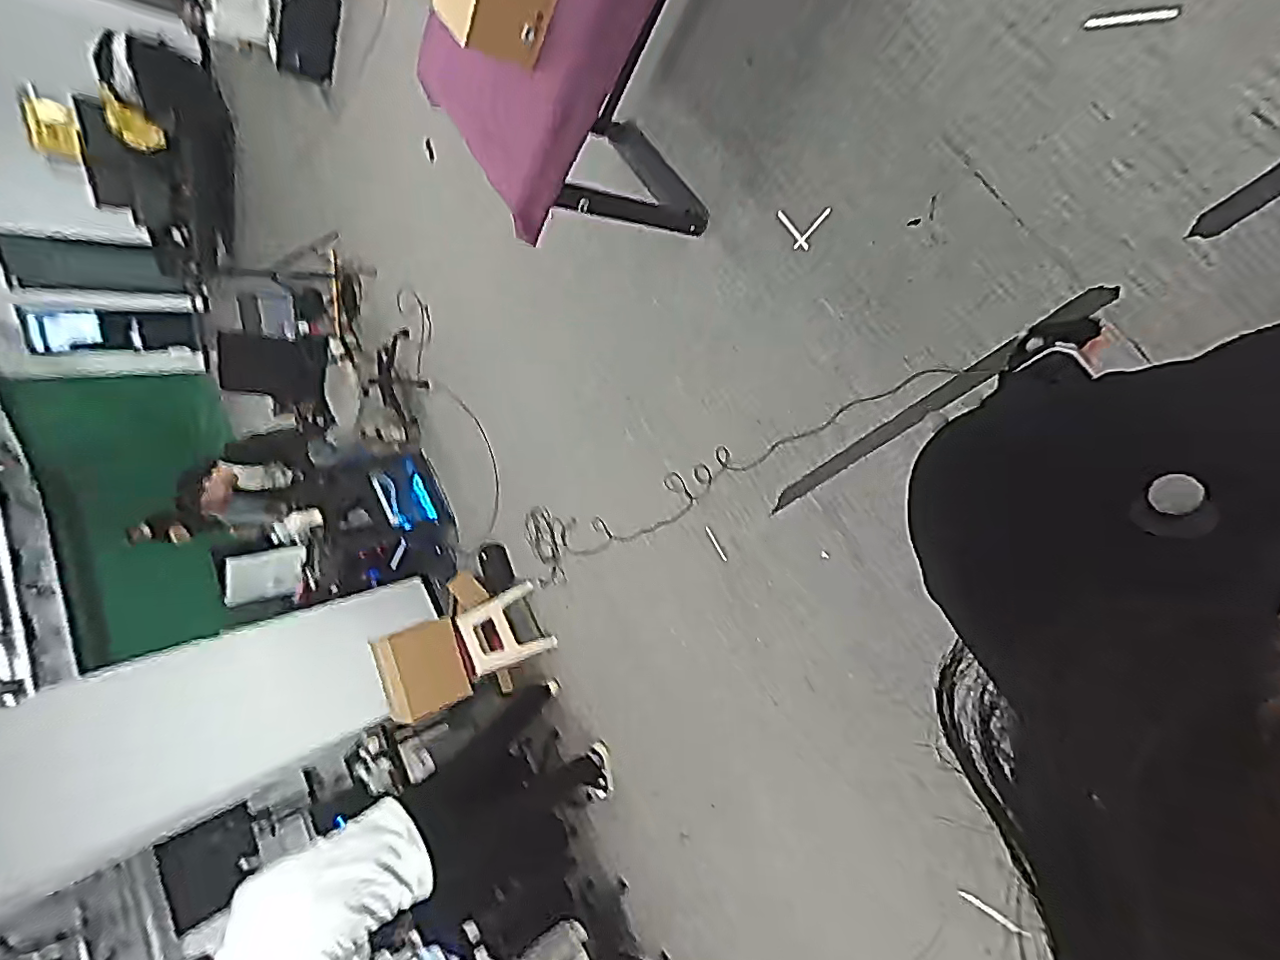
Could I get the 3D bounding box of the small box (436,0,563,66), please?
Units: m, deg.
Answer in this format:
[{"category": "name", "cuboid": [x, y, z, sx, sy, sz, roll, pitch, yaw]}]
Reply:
[{"category": "small box", "cuboid": [-0.285, -0.992, 1.099, 0.179, 0.176, 0.168, 57, 135, 18]}]
